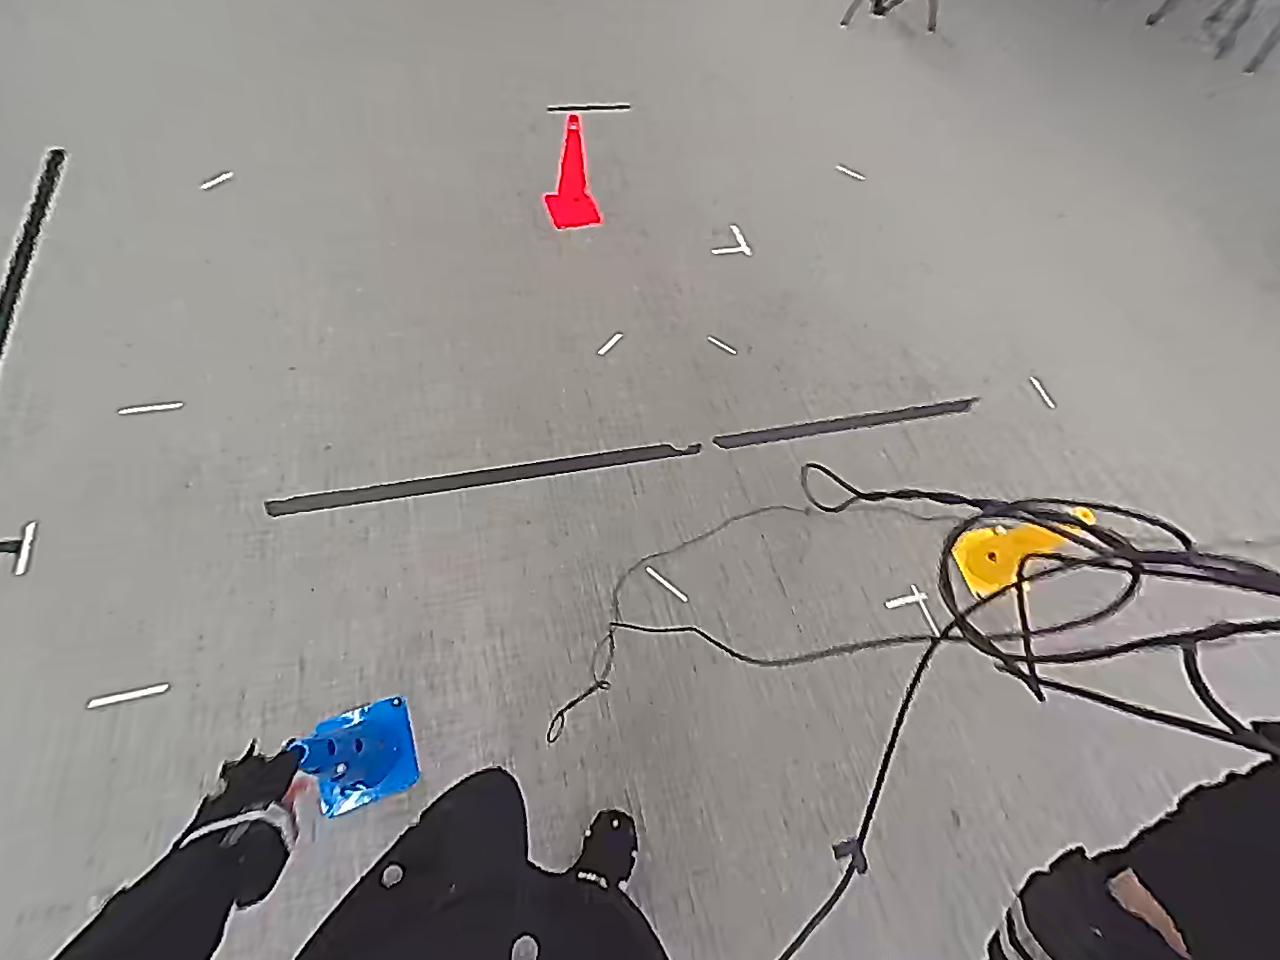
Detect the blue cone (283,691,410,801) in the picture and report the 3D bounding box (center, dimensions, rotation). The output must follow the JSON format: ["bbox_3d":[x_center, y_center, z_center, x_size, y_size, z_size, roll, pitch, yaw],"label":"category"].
[{"bbox_3d":[-0.602,0.522,1.070,0.193,0.380,0.192,-14,65,-14],"label":"blue cone"}]

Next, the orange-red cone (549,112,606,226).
[{"bbox_3d":[-0.230,-1.162,1.997,0.199,0.360,0.198,-14,65,-13],"label":"orange-red cone"}]
